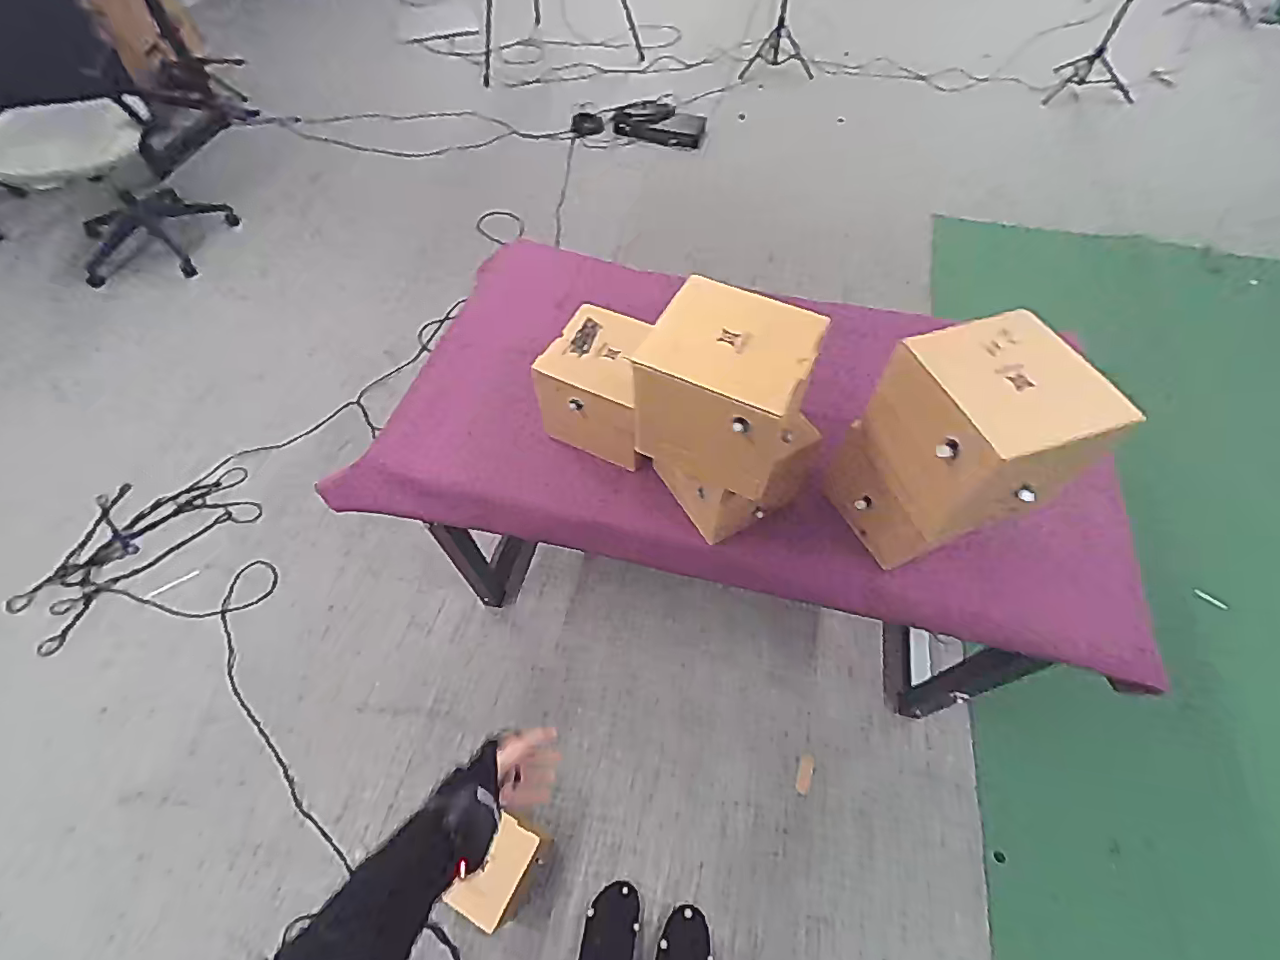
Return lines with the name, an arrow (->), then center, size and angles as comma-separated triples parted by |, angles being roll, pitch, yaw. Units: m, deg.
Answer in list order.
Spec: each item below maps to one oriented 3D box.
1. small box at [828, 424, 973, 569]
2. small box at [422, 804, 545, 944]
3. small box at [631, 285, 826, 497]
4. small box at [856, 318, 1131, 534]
small box -> 0.398, 0.006, 0.792 | 0.179, 0.176, 0.168 | -22, 59, -13
small box -> -0.315, 0.815, 1.137 | 0.168, 0.176, 0.179 | 23, 61, 15
small box -> 0.101, -0.105, 0.672 | 0.179, 0.176, 0.168 | 23, 60, 14
small box -> 0.387, -0.054, 0.633 | 0.168, 0.176, 0.179 | -15, 56, -9
